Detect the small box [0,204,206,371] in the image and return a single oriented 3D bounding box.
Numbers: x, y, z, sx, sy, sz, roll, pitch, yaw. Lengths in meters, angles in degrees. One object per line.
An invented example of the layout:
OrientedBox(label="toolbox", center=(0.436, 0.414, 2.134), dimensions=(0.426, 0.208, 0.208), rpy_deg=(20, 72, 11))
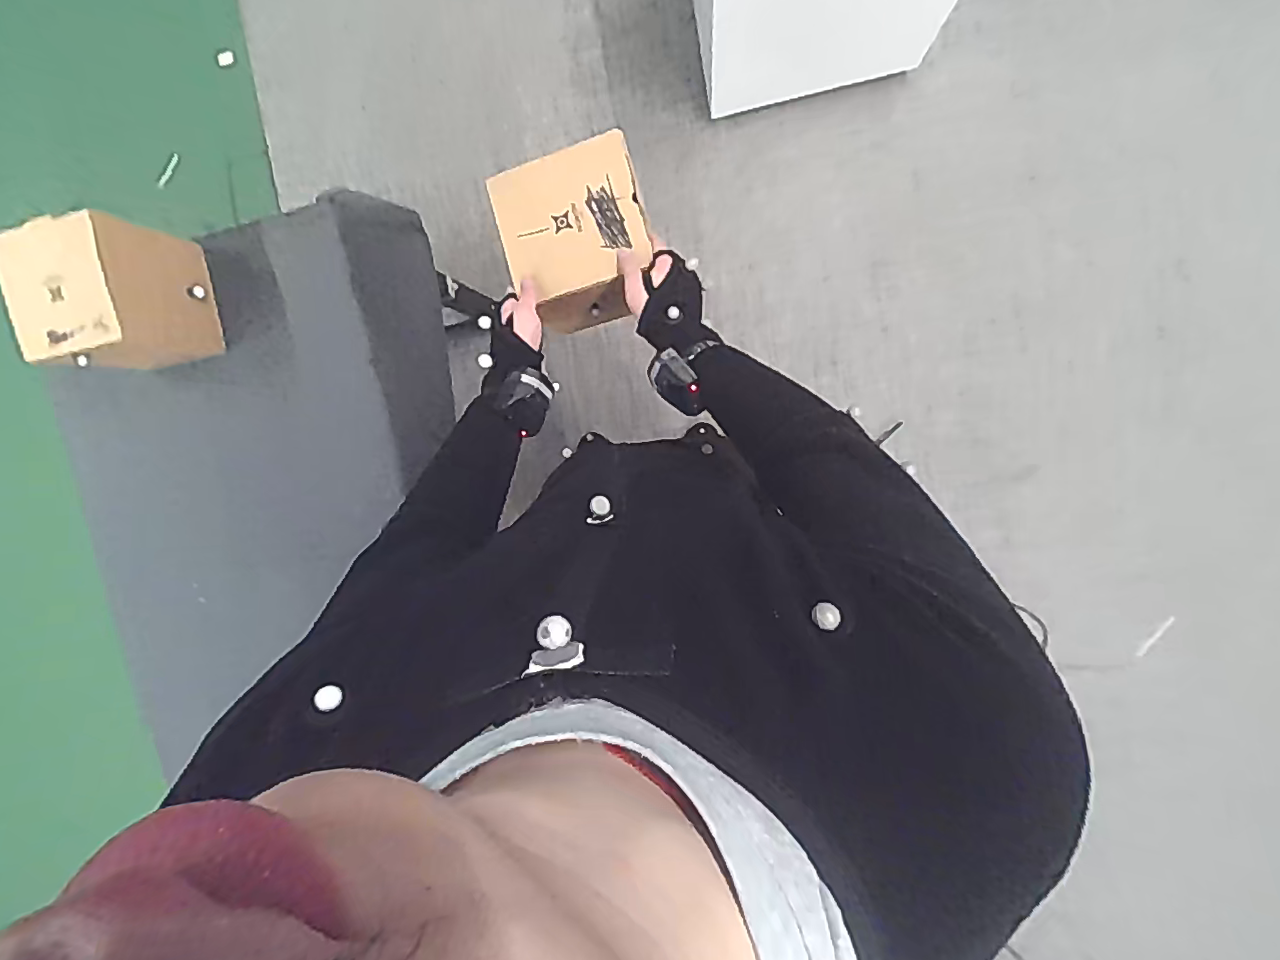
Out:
OrientedBox(label="small box", center=(-0.787, -0.264, 0.783), dimensions=(0.168, 0.176, 0.179), rpy_deg=(-9, 95, 7))

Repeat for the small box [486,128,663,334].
OrientedBox(label="small box", center=(-0.071, -0.306, 0.705), dimensions=(0.179, 0.176, 0.168), rpy_deg=(-14, 90, 8))
